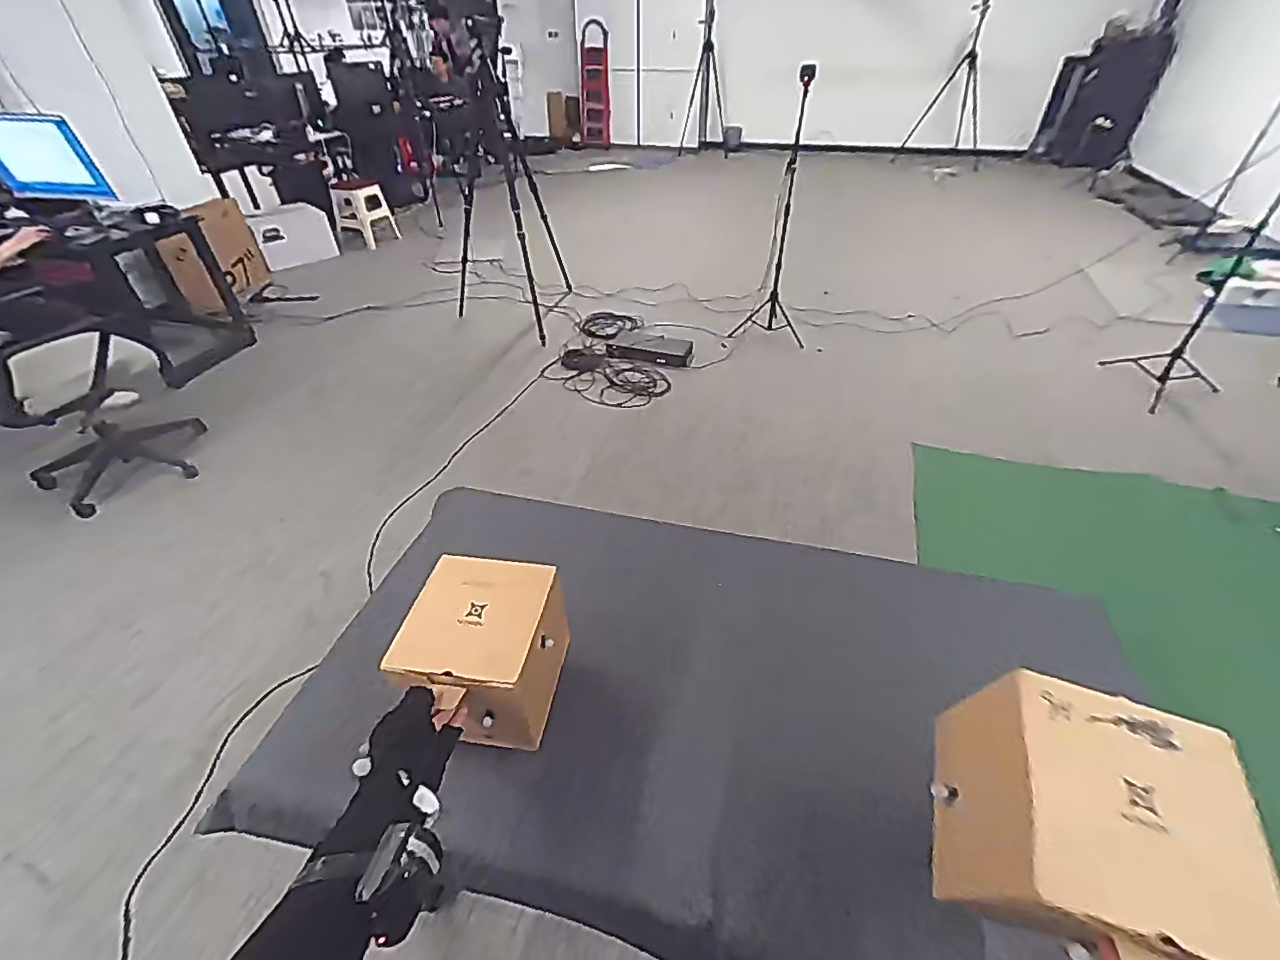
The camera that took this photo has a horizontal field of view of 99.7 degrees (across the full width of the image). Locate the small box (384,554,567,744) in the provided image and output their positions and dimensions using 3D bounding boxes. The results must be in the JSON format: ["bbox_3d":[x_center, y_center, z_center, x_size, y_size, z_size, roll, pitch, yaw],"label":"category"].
[{"bbox_3d":[-0.200,0.225,0.721,0.168,0.176,0.179,5,40,7],"label":"small box"}]

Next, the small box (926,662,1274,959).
[{"bbox_3d":[0.379,0.299,0.489,0.168,0.176,0.179,16,54,11],"label":"small box"}]
